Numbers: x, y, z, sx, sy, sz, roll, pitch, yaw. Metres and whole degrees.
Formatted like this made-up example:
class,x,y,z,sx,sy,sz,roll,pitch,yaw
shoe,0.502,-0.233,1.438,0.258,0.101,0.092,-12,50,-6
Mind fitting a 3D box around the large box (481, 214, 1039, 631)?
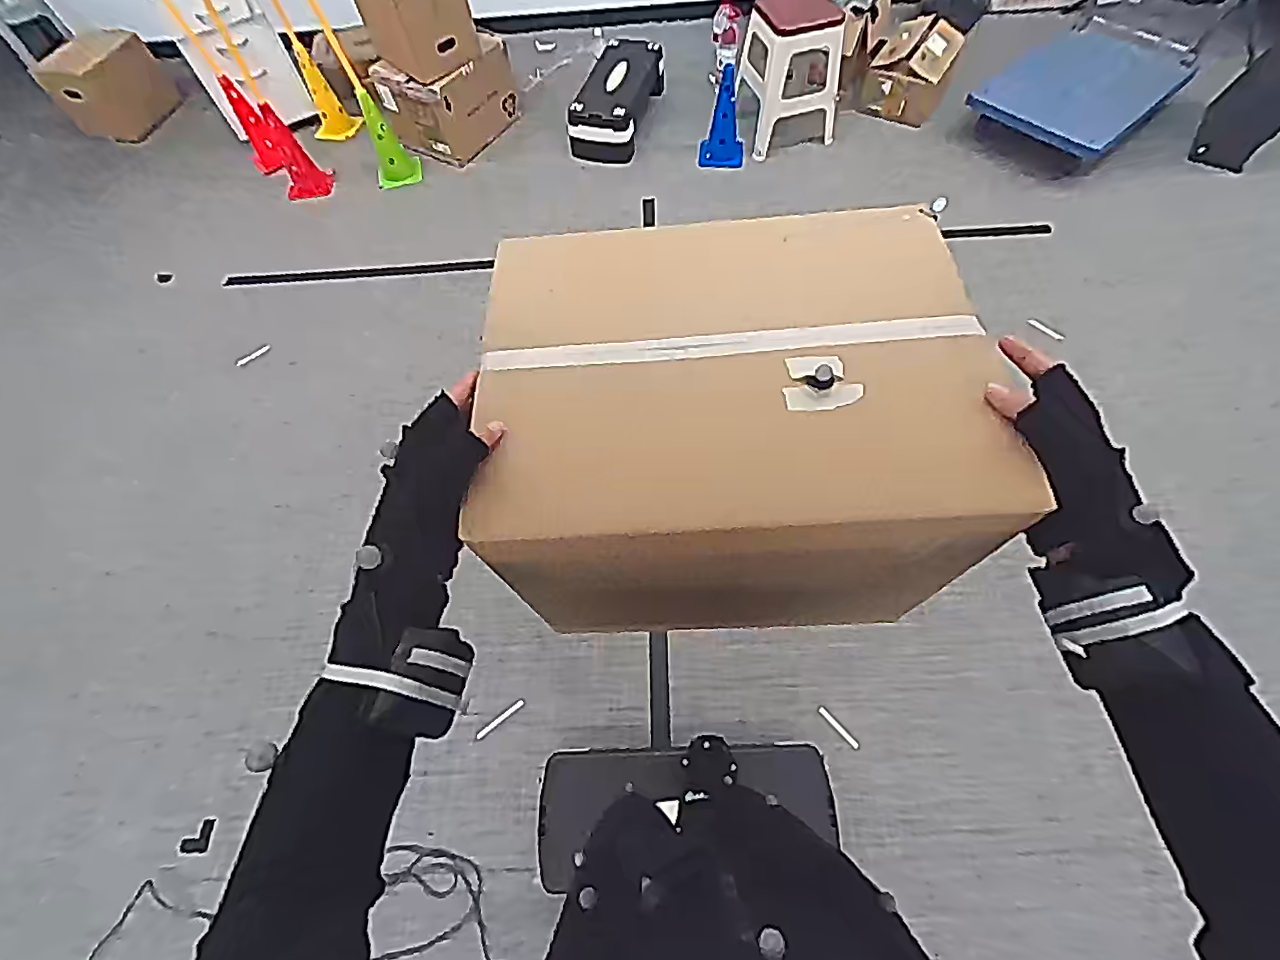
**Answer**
class,x,y,z,sx,sy,sz,roll,pitch,yaw
large box,0.083,-0.036,0.580,0.408,0.320,0.320,-3,63,2
